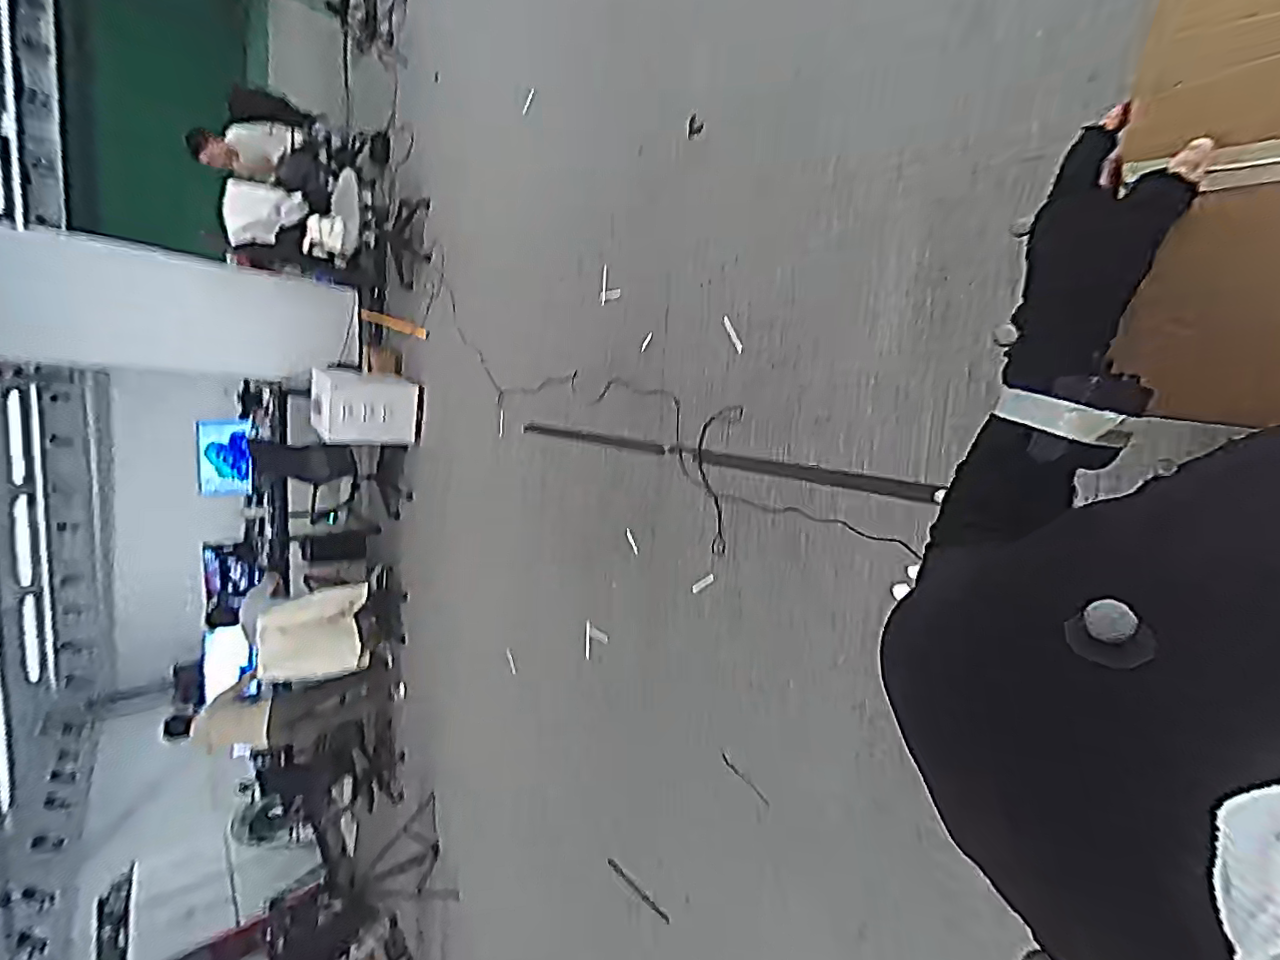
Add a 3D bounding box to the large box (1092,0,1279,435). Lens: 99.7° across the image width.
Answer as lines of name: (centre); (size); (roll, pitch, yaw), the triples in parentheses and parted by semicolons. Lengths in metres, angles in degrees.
large box: (0.532, -0.213, 0.270); (0.408, 0.320, 0.320); (17, 134, 50)
